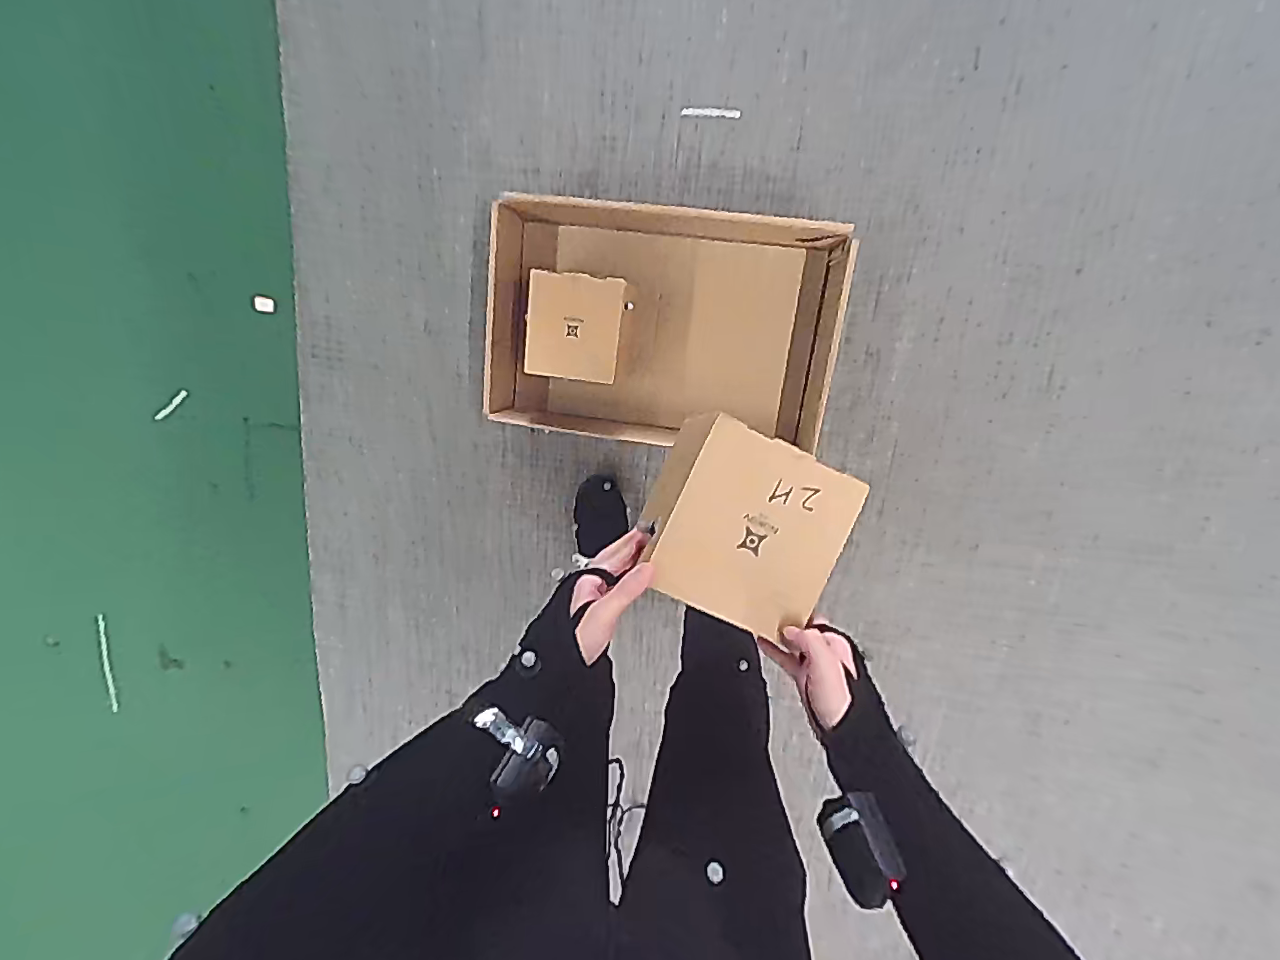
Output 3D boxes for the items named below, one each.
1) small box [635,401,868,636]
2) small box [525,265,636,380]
[{"bbox_3d":[0.102,0.033,0.586,0.168,0.176,0.179,26,92,-7],"label":"small box"},{"bbox_3d":[-0.104,-0.288,1.004,0.168,0.176,0.179,8,104,5],"label":"small box"}]
